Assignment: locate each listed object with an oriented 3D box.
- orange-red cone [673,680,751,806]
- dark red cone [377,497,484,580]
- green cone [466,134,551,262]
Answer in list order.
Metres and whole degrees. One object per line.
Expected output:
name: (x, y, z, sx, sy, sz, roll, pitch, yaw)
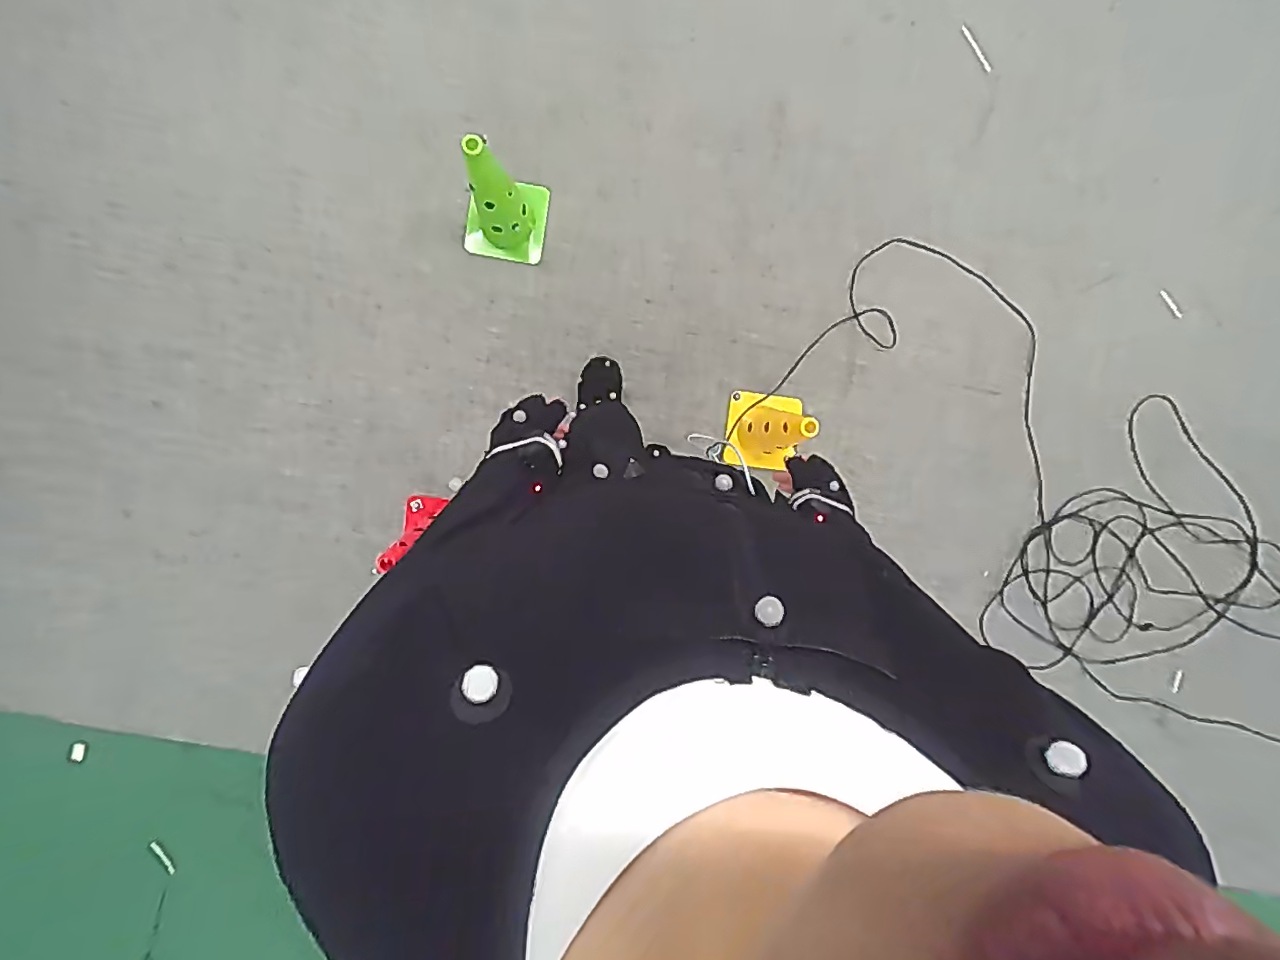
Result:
orange-red cone: (0.212, 0.677, 1.348, 0.198, 0.360, 0.199, 10, 93, -4)
dark red cone: (-0.511, 0.160, 1.260, 0.202, 0.394, 0.201, 5, 95, -3)
green cone: (-0.331, -0.667, 1.235, 0.202, 0.368, 0.200, 9, 94, -4)
